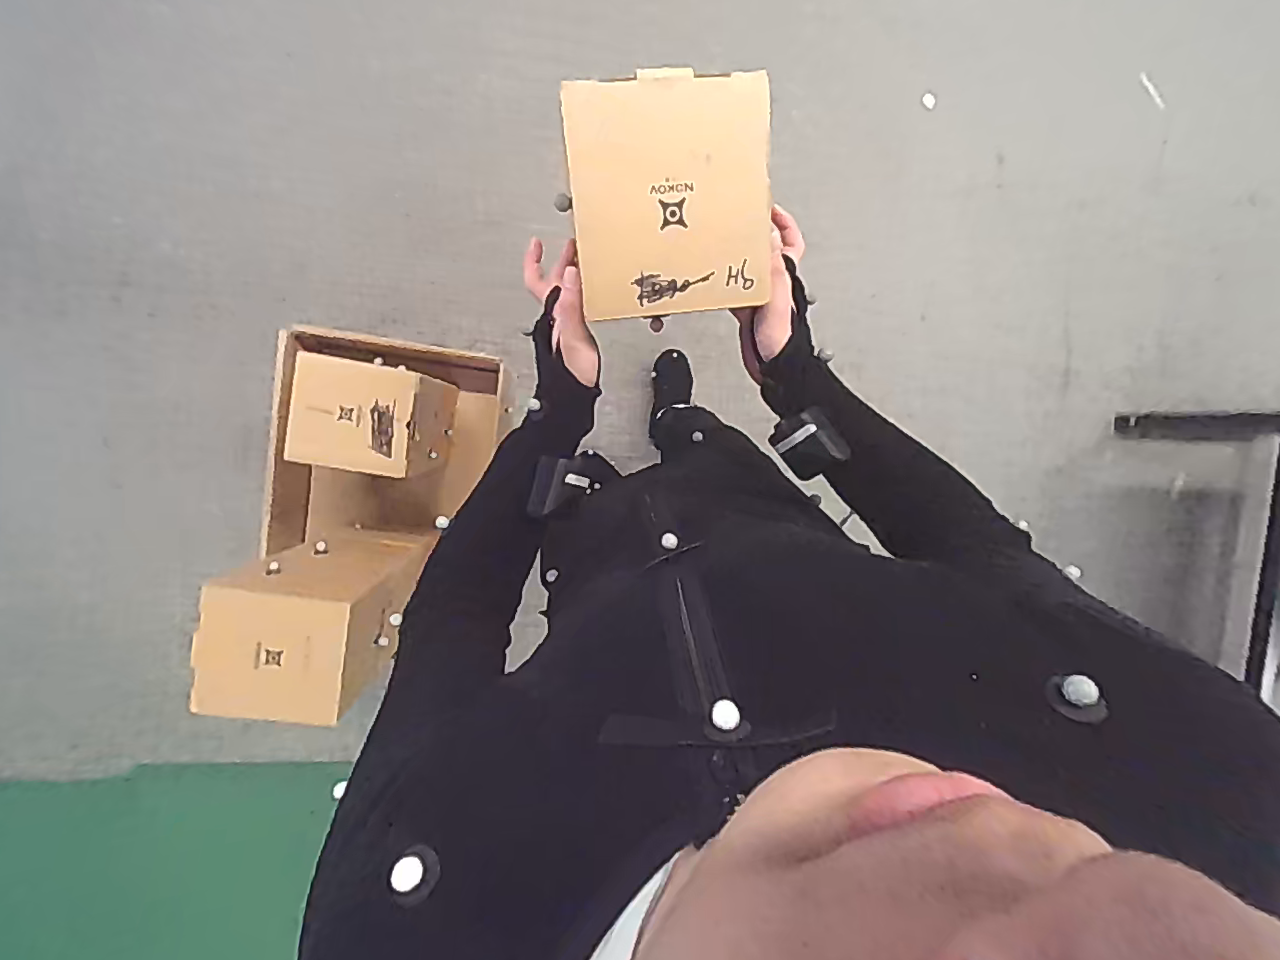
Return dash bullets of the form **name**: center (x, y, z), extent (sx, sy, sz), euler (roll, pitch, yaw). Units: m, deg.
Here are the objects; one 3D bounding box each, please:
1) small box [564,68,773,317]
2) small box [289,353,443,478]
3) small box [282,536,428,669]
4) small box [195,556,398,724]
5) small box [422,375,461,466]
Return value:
- **small box**: center (0.018, -0.251, 0.512), extent (0.168, 0.176, 0.179), euler (-6, 108, -4)
- **small box**: center (-0.439, -0.104, 0.896), extent (0.179, 0.176, 0.168), euler (9, 93, -7)
- **small box**: center (-0.483, 0.197, 0.918), extent (0.179, 0.176, 0.168), euler (10, 95, -7)
- **small box**: center (-0.464, 0.211, 0.756), extent (0.179, 0.176, 0.168), euler (9, 95, -7)
- **small box**: center (-0.464, -0.122, 1.057), extent (0.179, 0.176, 0.168), euler (7, 94, -8)
